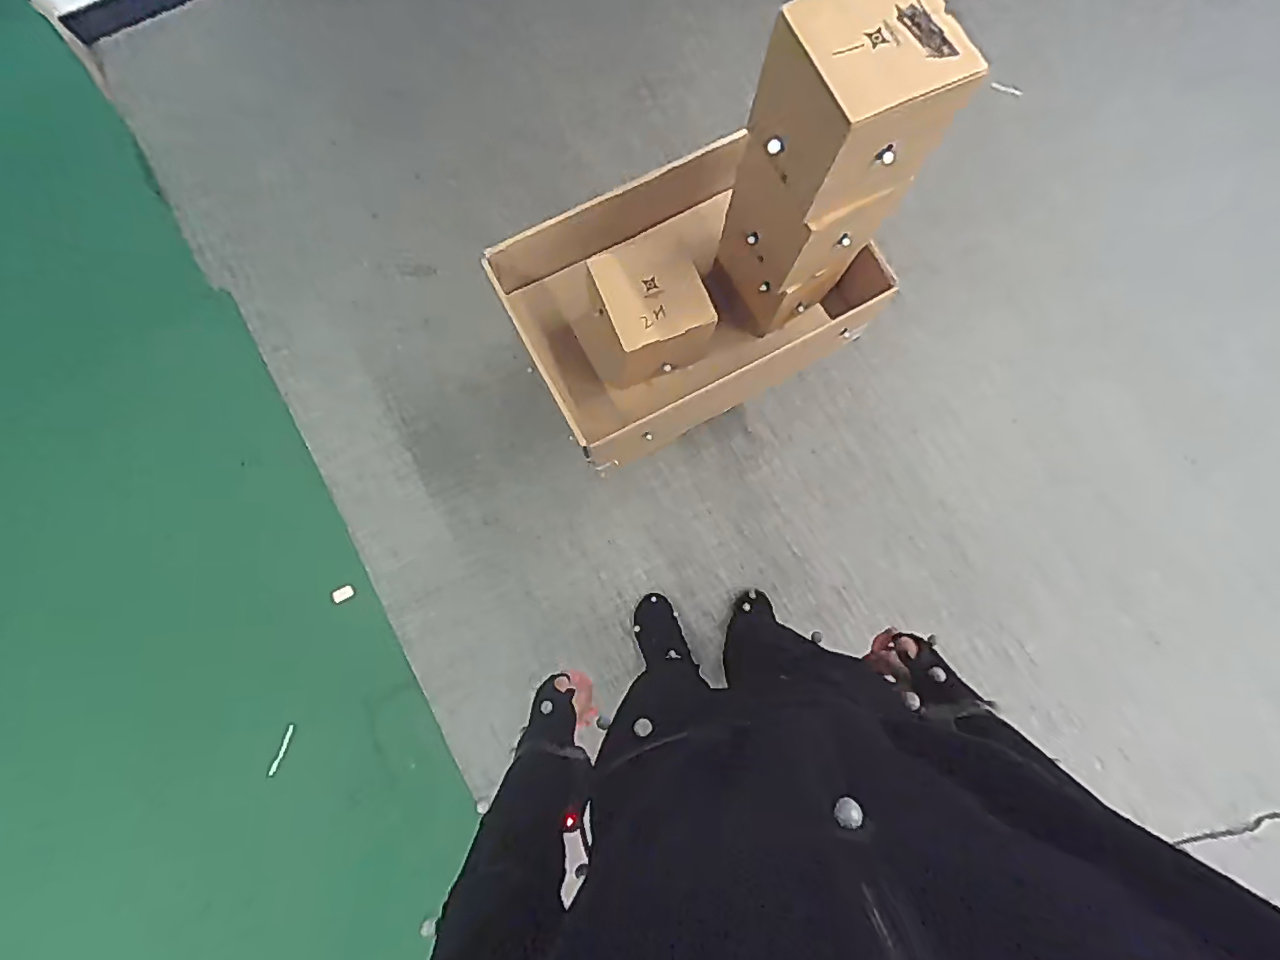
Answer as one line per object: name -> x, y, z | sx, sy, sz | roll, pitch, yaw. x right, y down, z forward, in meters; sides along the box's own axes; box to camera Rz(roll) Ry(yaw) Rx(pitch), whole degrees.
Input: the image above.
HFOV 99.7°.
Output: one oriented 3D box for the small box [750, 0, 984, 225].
small box -> 0.259, -0.456, 0.663 | 0.179, 0.176, 0.168 | -25, 81, -5
